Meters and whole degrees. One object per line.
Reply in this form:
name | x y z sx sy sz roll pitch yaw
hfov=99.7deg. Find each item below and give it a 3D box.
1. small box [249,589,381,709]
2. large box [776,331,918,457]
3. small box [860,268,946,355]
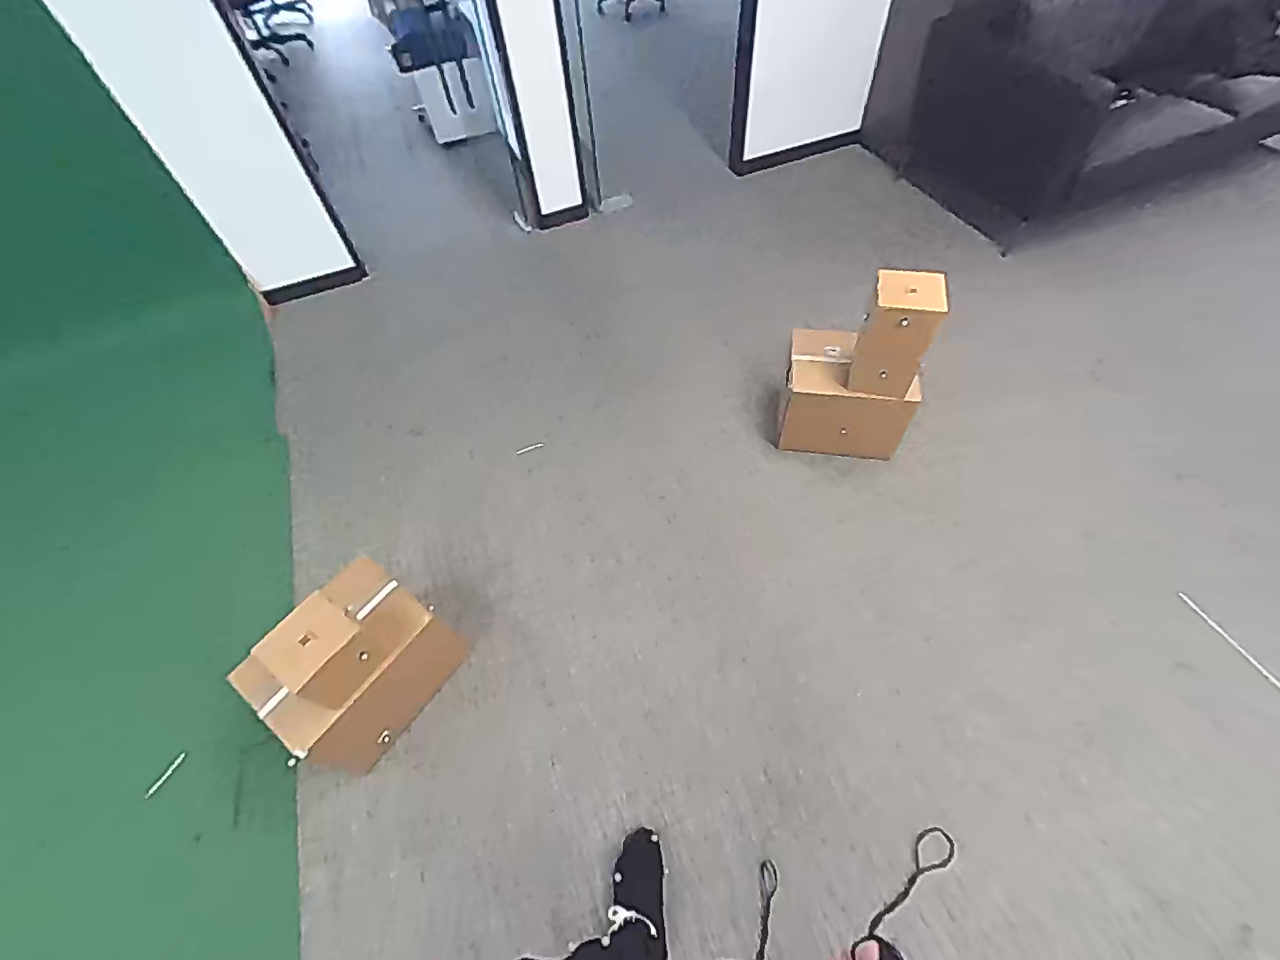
small box | -0.724 0.388 1.233 0.168 0.176 0.179 30 63 21
large box | 0.708 -0.301 1.918 0.408 0.320 0.320 5 55 9
small box | 0.742 -0.476 1.539 0.179 0.176 0.168 8 58 11
